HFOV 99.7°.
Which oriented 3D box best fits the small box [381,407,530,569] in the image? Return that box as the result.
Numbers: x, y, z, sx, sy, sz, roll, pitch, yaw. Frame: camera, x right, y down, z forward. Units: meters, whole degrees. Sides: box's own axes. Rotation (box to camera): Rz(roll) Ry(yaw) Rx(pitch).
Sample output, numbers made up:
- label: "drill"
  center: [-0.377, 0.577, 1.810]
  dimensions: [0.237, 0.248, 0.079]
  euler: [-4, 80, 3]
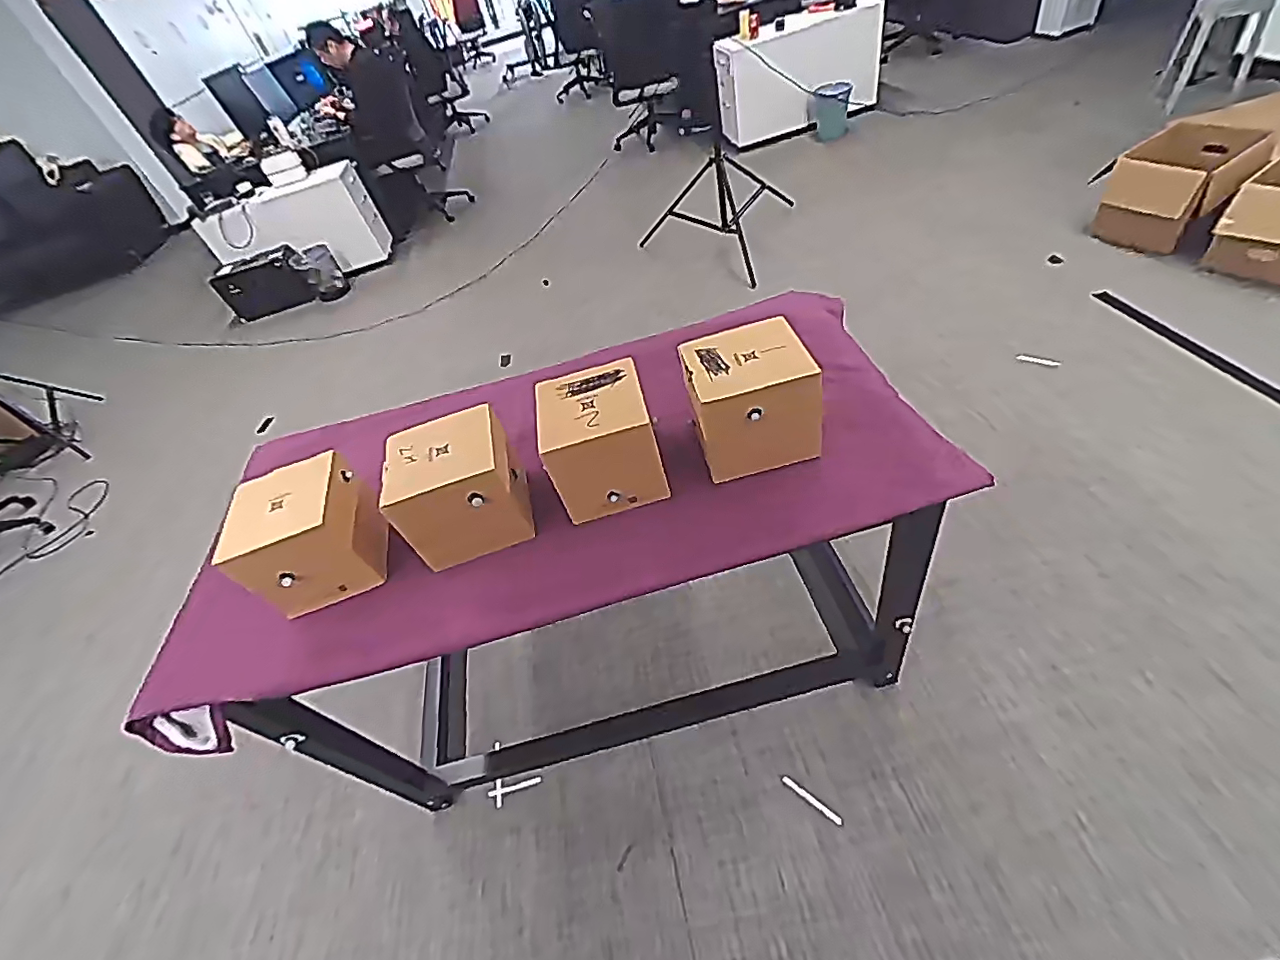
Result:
- label: "small box"
  center: [-0.288, 0.015, 0.879]
  dimensions: [0.179, 0.176, 0.168]
  euler: [-19, 45, -1]

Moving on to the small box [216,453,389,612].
- label: "small box"
  center: [-0.533, 0.093, 0.885]
  dimensions: [0.168, 0.176, 0.179]
  euler: [-22, 45, -3]

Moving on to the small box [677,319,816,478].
- label: "small box"
  center: [0.172, -0.125, 0.865]
  dimensions: [0.179, 0.176, 0.168]
  euler: [-15, 44, 3]
